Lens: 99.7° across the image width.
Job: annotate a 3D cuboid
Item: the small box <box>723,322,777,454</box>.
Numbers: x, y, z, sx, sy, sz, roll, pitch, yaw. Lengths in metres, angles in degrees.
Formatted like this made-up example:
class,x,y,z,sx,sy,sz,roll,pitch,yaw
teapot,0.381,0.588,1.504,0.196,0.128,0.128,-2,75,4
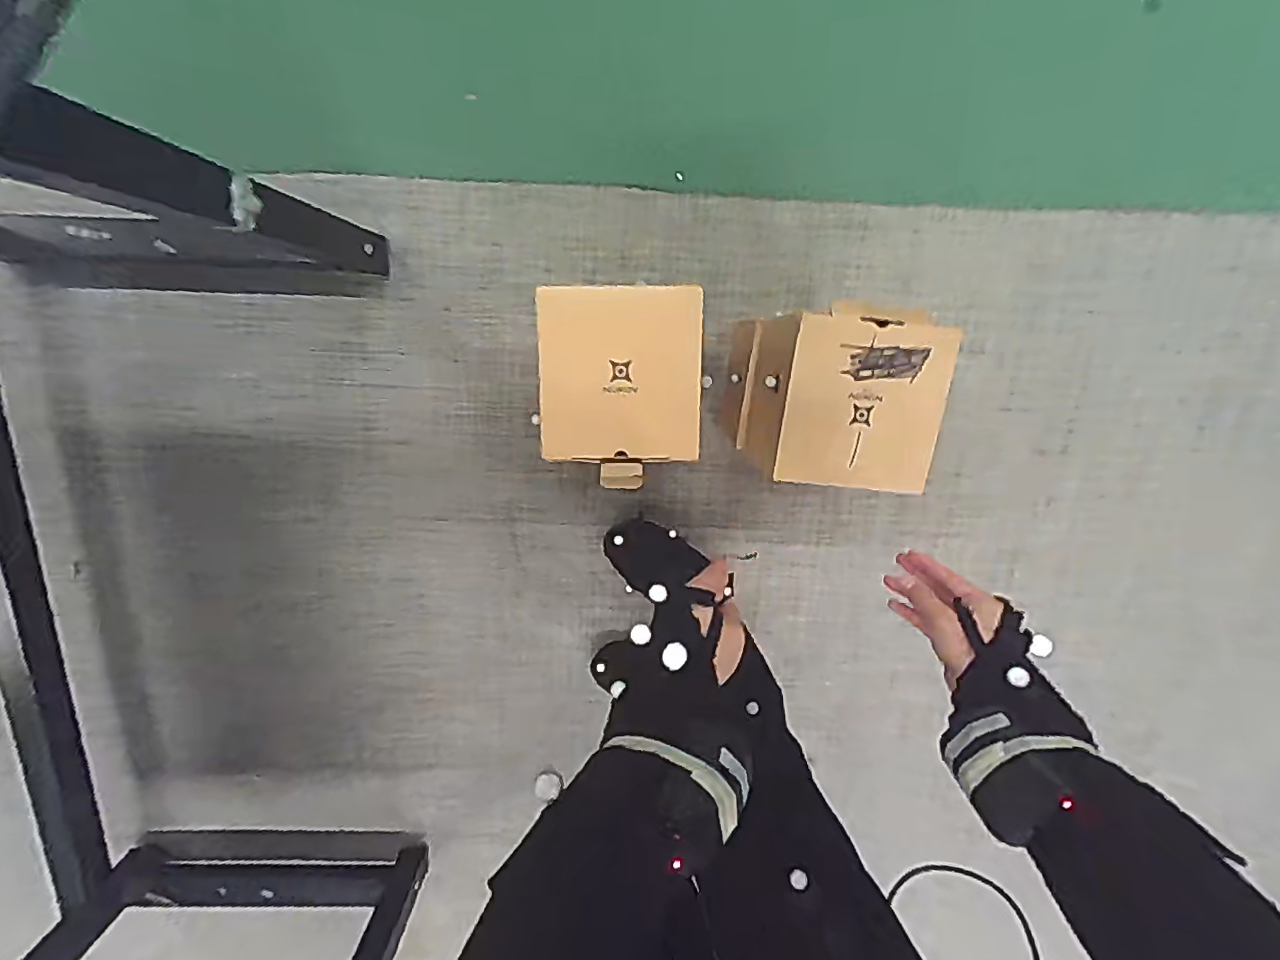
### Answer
class,x,y,z,sx,sy,sz,roll,pitch,yaw
small box,0.223,-0.132,0.798,0.168,0.176,0.179,6,105,-1

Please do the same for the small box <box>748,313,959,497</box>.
class,x,y,z,sx,sy,sz,roll,pitch,yaw
small box,0.232,-0.093,0.639,0.168,0.176,0.179,6,104,-1

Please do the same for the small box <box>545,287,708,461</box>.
class,x,y,z,sx,sy,sz,roll,pitch,yaw
small box,-0.017,-0.121,0.627,0.168,0.176,0.179,0,103,-1
